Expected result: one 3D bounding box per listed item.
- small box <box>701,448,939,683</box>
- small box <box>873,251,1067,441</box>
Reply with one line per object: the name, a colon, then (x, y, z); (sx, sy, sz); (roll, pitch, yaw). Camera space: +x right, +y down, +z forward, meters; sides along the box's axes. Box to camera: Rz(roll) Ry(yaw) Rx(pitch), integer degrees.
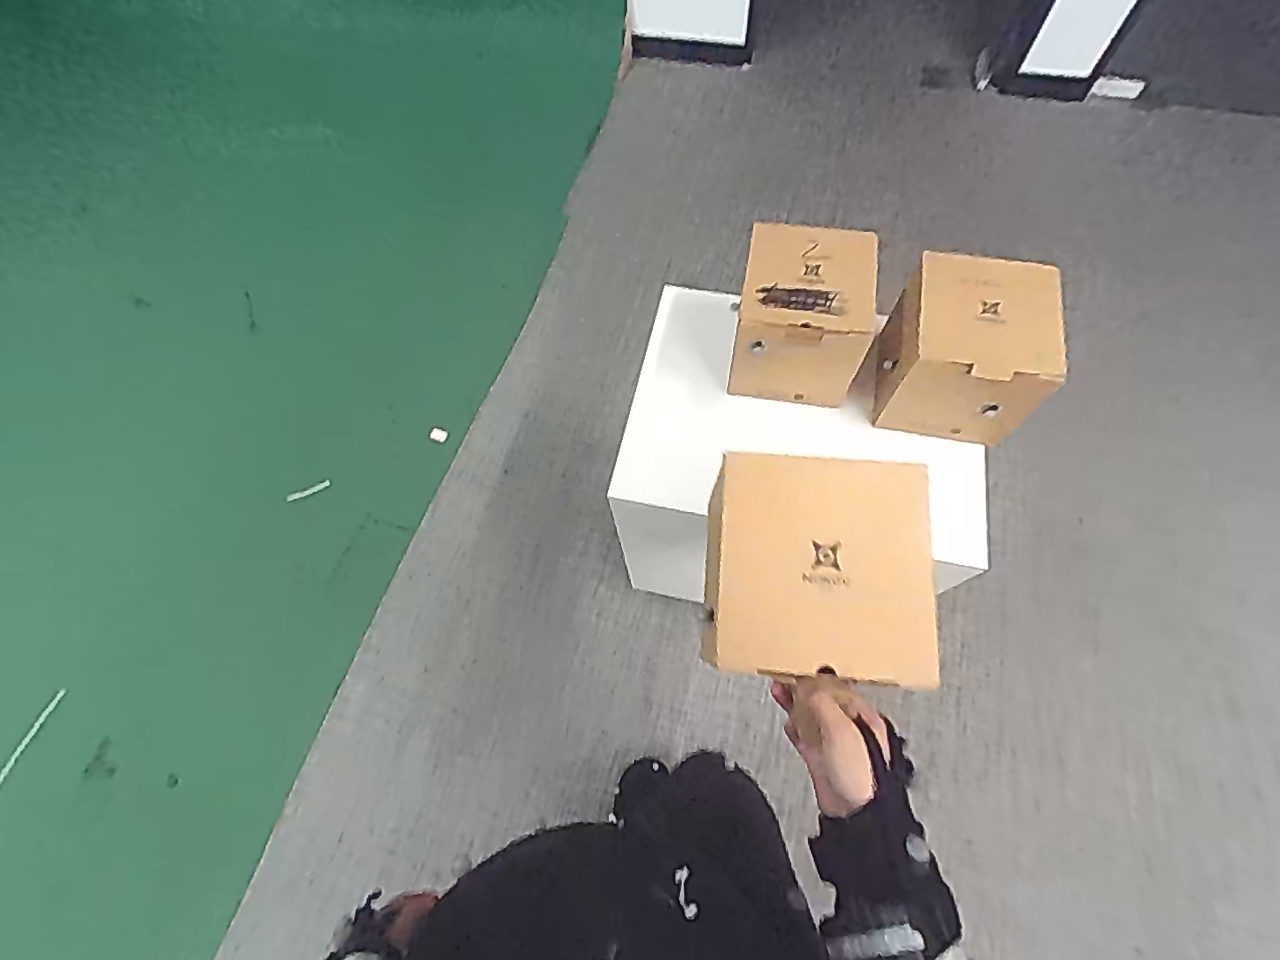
small box: (0.145, 0.082, 0.498); (0.168, 0.176, 0.179); (3, 75, 3)
small box: (0.427, -0.172, 0.727); (0.168, 0.176, 0.179); (11, 66, 7)
